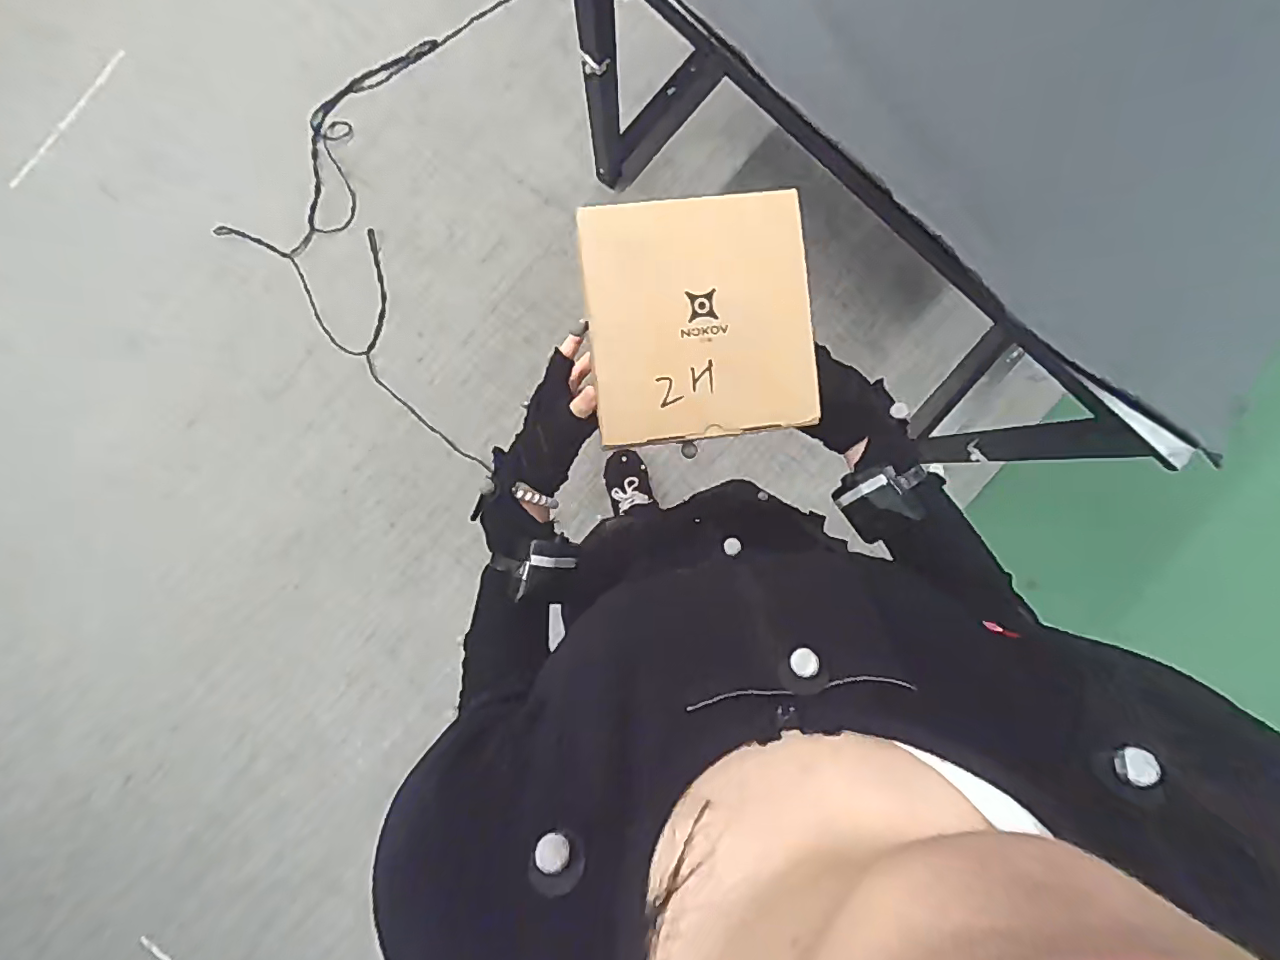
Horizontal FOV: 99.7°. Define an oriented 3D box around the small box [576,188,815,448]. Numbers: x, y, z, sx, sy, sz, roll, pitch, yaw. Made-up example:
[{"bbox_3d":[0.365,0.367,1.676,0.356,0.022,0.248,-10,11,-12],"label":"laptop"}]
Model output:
[{"bbox_3d":[0.036,-0.124,0.476,0.168,0.176,0.179,-7,93,-4],"label":"small box"}]
